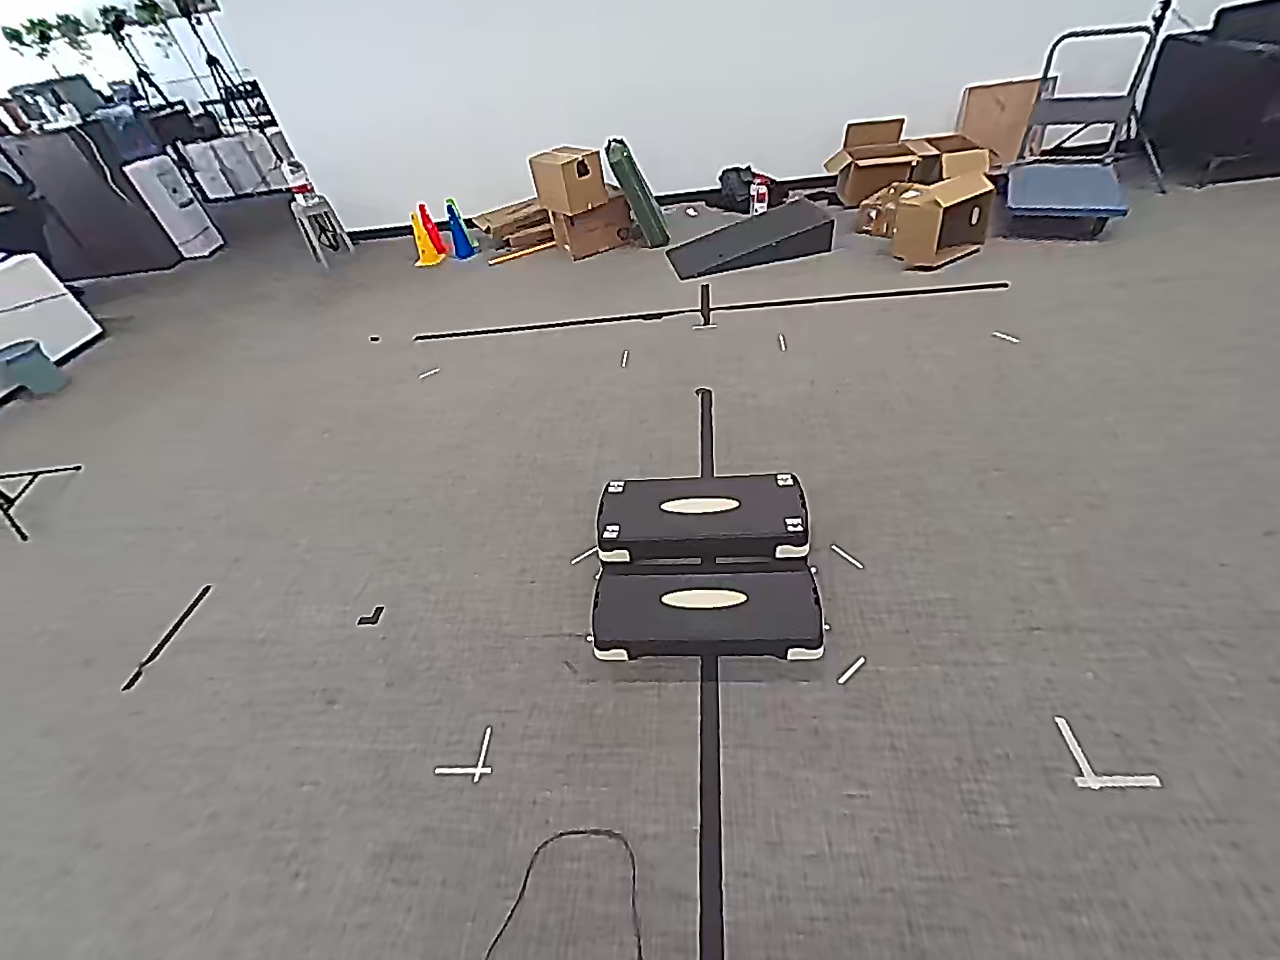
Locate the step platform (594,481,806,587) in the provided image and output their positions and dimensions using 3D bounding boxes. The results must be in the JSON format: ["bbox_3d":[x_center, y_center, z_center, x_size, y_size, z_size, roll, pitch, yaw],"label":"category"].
[{"bbox_3d":[0.189,0.174,1.780,0.684,0.204,0.286,-3,44,7],"label":"step platform"}]
